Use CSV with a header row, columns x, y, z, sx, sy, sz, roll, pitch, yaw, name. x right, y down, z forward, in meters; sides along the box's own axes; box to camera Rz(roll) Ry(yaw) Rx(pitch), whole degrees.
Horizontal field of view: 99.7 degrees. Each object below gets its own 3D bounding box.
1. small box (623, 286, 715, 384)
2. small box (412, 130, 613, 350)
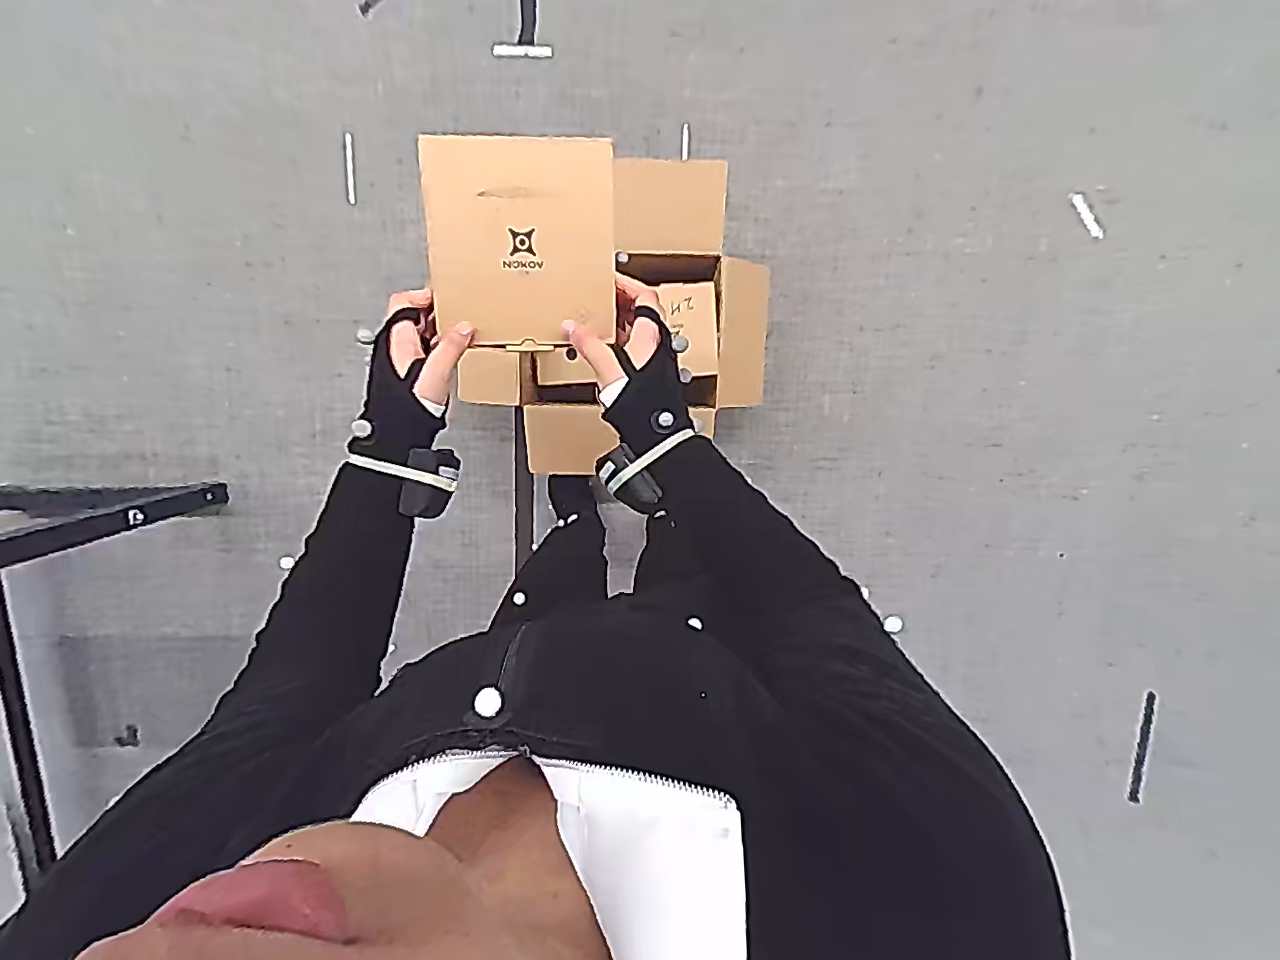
x,y,z,sx,sy,sz,roll,pitch,yaw,name
0.056,-0.294,1.119,0.168,0.176,0.179,-5,100,-4,small box
-0.112,-0.227,0.547,0.168,0.176,0.179,-3,106,-5,small box
